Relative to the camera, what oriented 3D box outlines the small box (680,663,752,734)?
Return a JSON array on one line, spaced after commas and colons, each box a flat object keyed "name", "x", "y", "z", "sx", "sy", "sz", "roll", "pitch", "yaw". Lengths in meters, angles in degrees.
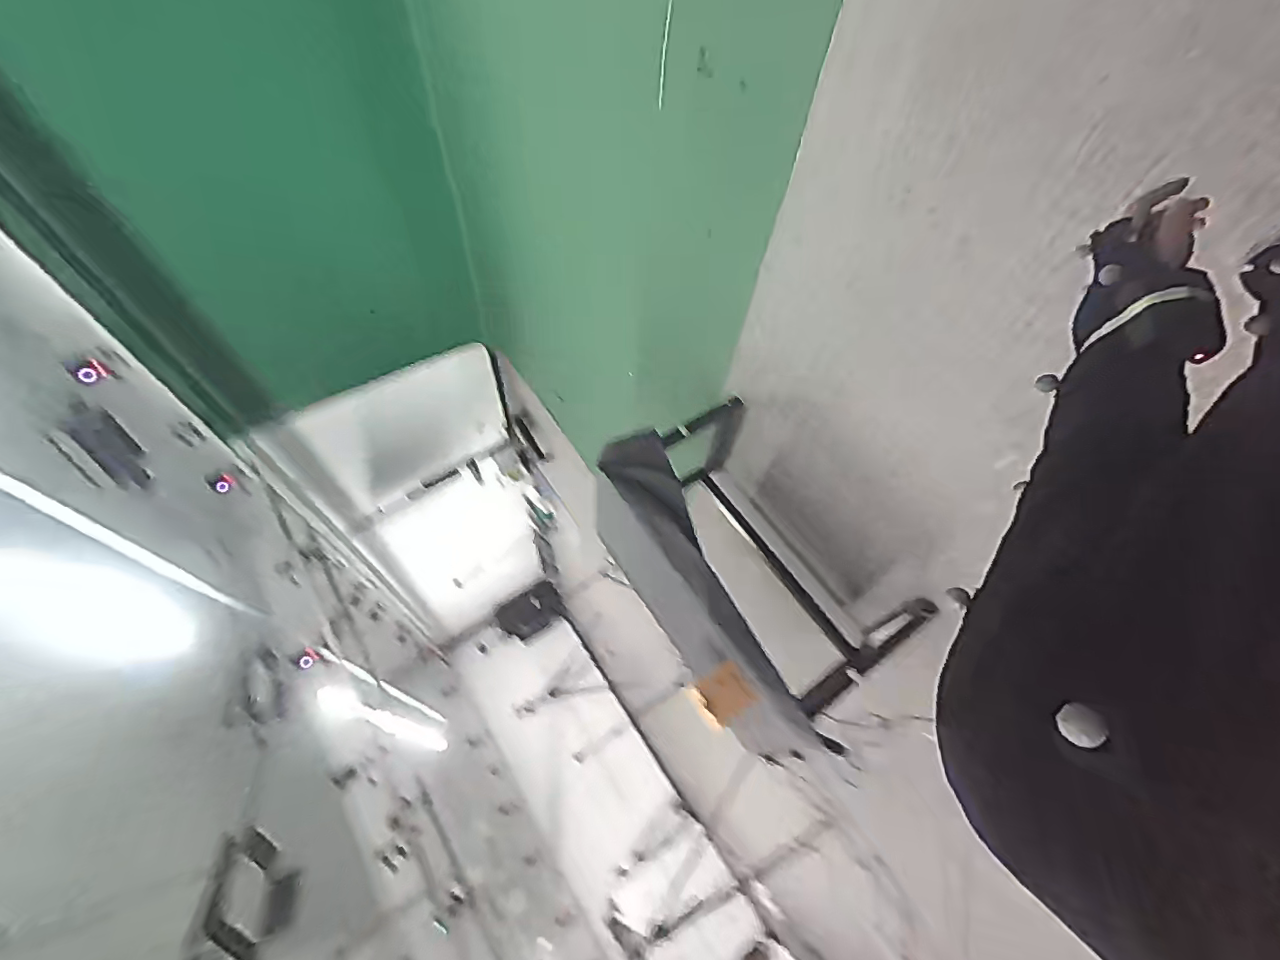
[{"name": "small box", "x": 0.268, "y": 0.766, "z": 1.898, "sx": 0.168, "sy": 0.176, "sz": 0.179, "roll": 55, "pitch": 161, "yaw": 20}]
